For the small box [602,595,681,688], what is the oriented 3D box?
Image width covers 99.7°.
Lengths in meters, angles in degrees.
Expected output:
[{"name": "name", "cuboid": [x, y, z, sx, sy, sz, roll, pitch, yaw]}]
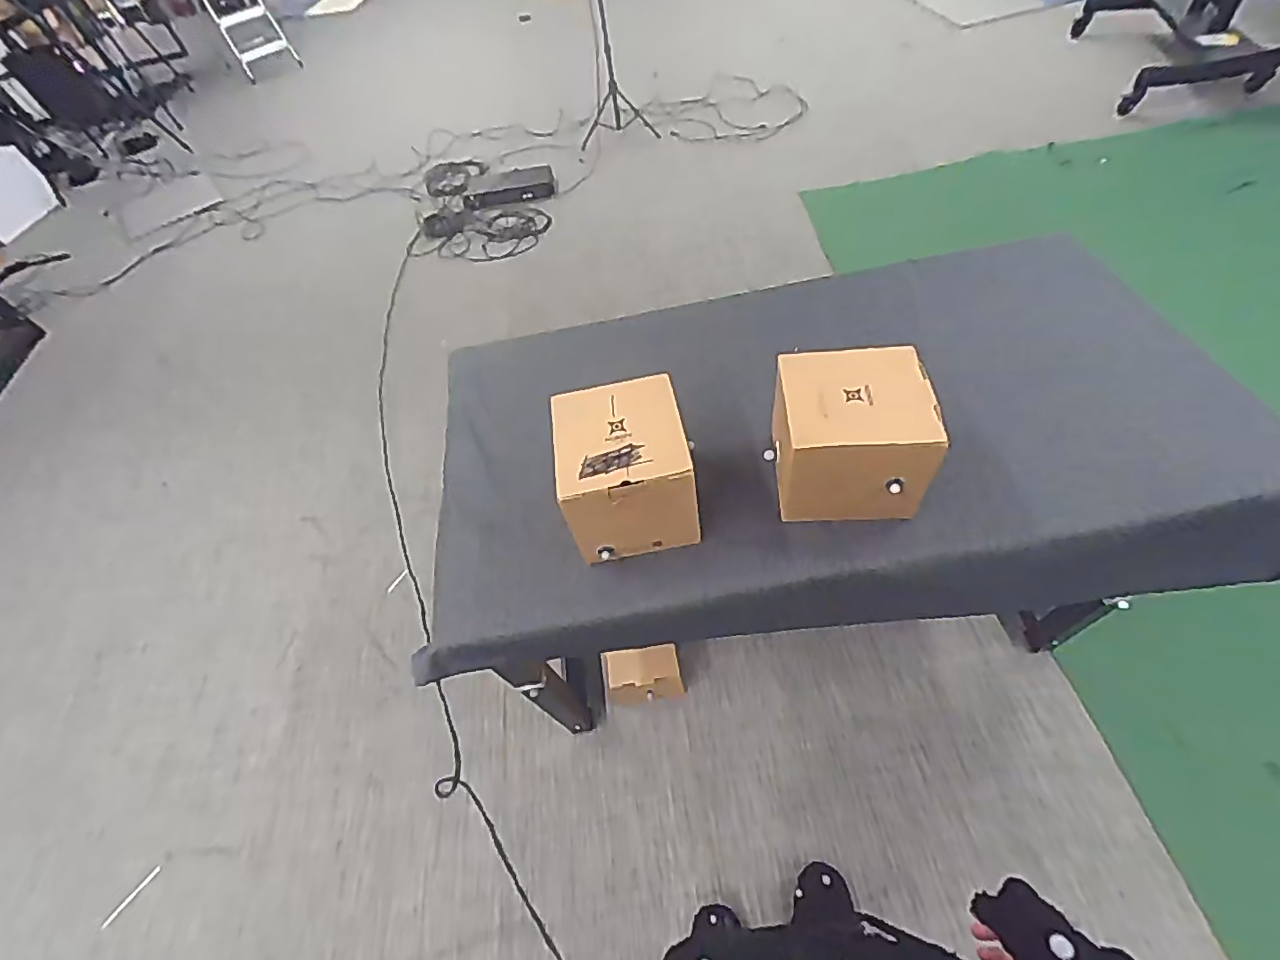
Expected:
[{"name": "small box", "cuboid": [0.006, 0.408, 1.347, 0.168, 0.176, 0.179, -10, 56, 2]}]

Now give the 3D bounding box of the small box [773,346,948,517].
[{"name": "small box", "cuboid": [0.282, -0.059, 0.737, 0.179, 0.176, 0.168, -2, 55, 8]}]

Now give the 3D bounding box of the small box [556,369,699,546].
[{"name": "small box", "cuboid": [-0.015, -0.023, 0.752, 0.168, 0.176, 0.179, -10, 54, 1]}]
